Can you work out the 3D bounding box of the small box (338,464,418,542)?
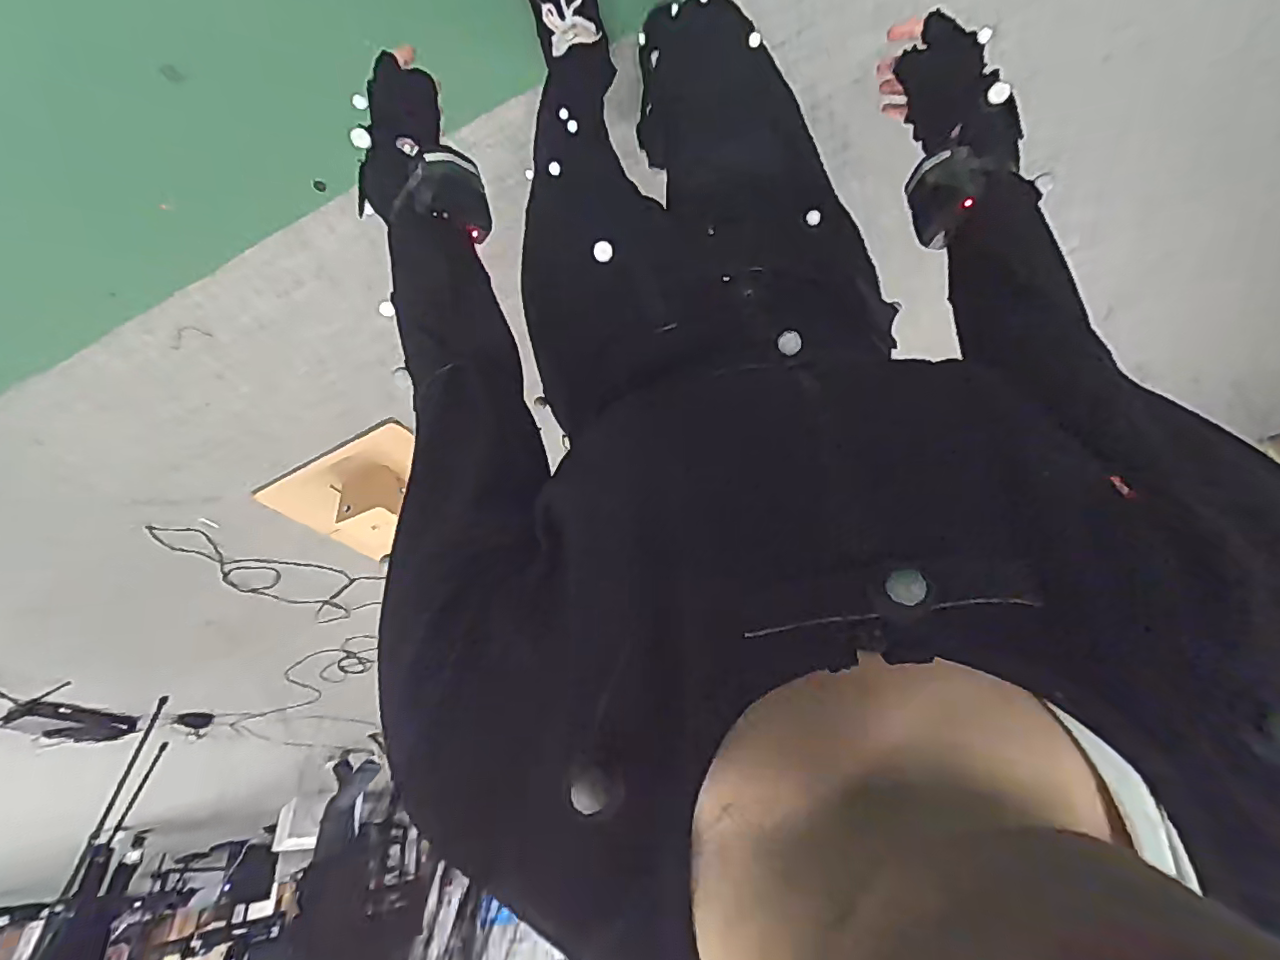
[{"bbox_3d":[-0.862,0.075,1.800,0.179,0.176,0.168,-21,143,10],"label":"small box"}]
